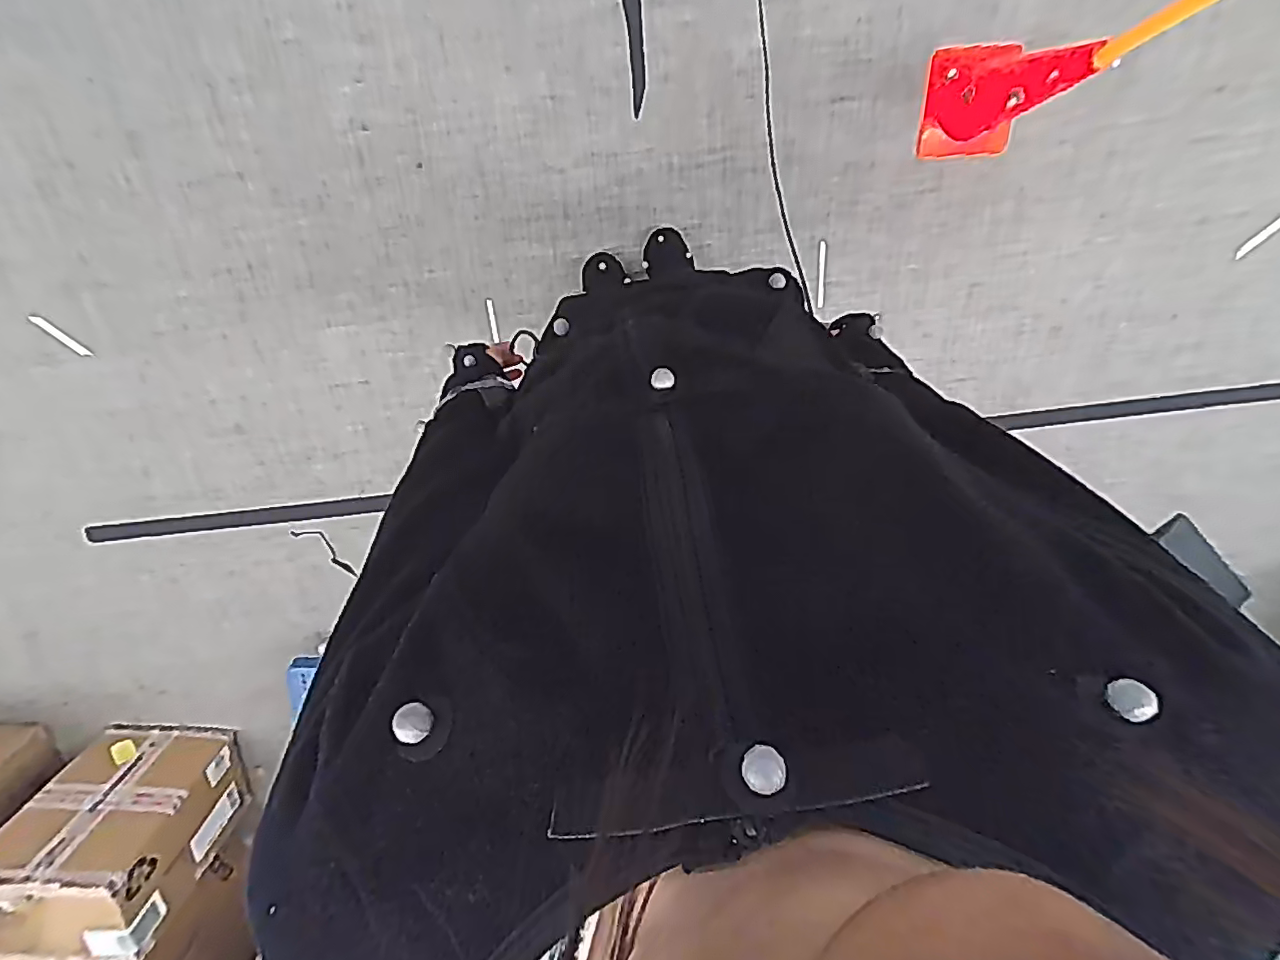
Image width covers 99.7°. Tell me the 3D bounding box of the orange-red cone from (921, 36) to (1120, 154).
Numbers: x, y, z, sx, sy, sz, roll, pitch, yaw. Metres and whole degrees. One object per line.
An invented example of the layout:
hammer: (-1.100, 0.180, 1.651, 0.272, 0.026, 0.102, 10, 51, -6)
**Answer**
orange-red cone: (0.717, -0.736, 0.994, 0.198, 0.360, 0.199, -3, 115, -2)
